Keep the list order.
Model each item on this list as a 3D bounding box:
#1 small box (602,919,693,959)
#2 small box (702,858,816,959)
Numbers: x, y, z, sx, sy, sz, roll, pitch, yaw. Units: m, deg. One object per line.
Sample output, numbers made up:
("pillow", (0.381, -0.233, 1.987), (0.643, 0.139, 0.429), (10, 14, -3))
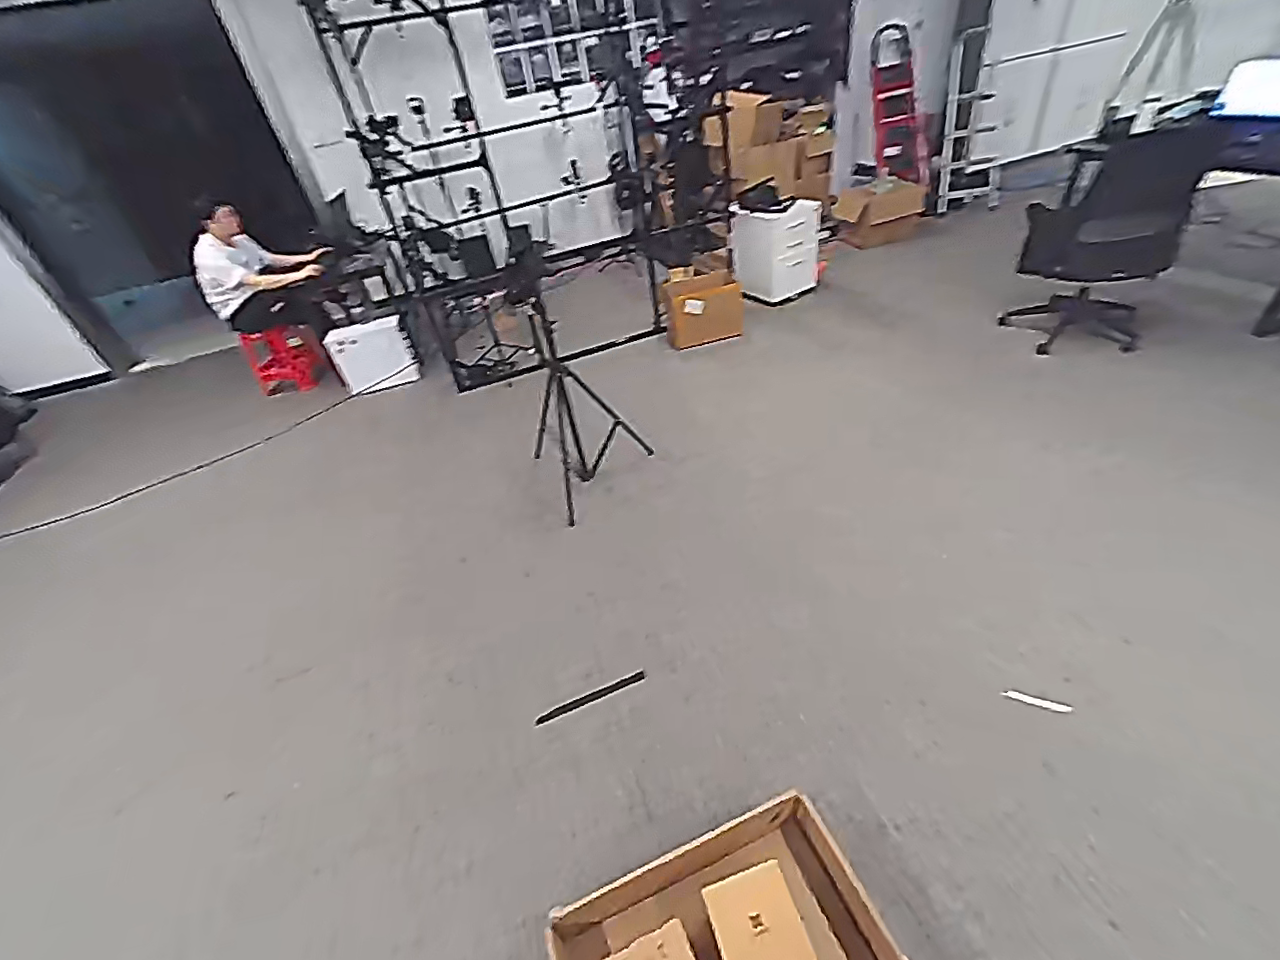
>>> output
("small box", (0.041, 0.993, 1.027), (0.168, 0.176, 0.179), (-20, 39, -14))
("small box", (0.235, 0.912, 1.087), (0.168, 0.176, 0.179), (-17, 39, -7))
